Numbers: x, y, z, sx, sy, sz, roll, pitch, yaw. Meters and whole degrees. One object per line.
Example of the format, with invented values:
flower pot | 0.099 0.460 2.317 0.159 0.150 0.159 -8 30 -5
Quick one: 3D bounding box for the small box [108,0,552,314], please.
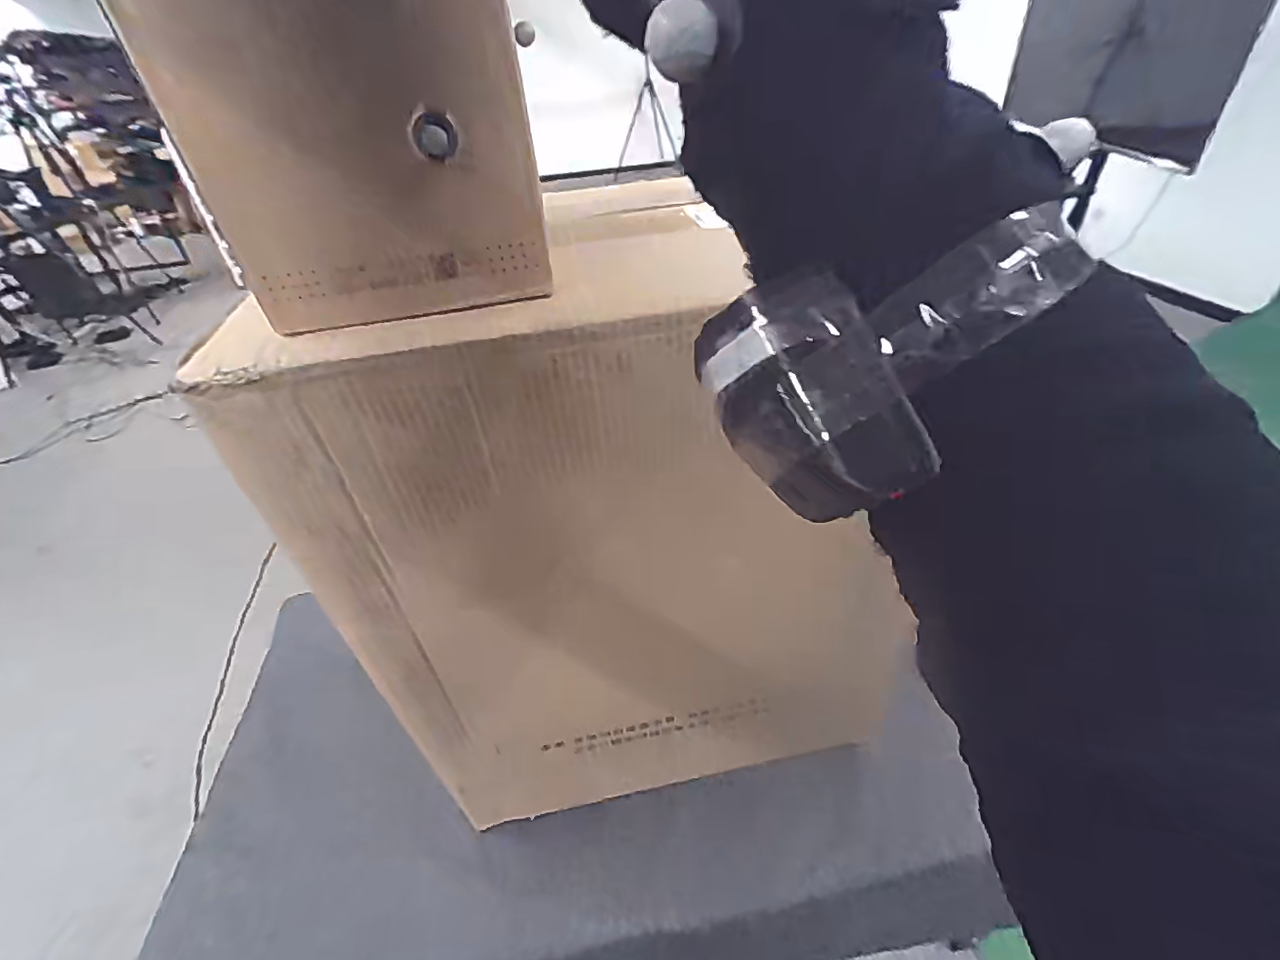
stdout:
small box | -0.153 -0.212 0.338 0.168 0.176 0.179 -10 40 -8
